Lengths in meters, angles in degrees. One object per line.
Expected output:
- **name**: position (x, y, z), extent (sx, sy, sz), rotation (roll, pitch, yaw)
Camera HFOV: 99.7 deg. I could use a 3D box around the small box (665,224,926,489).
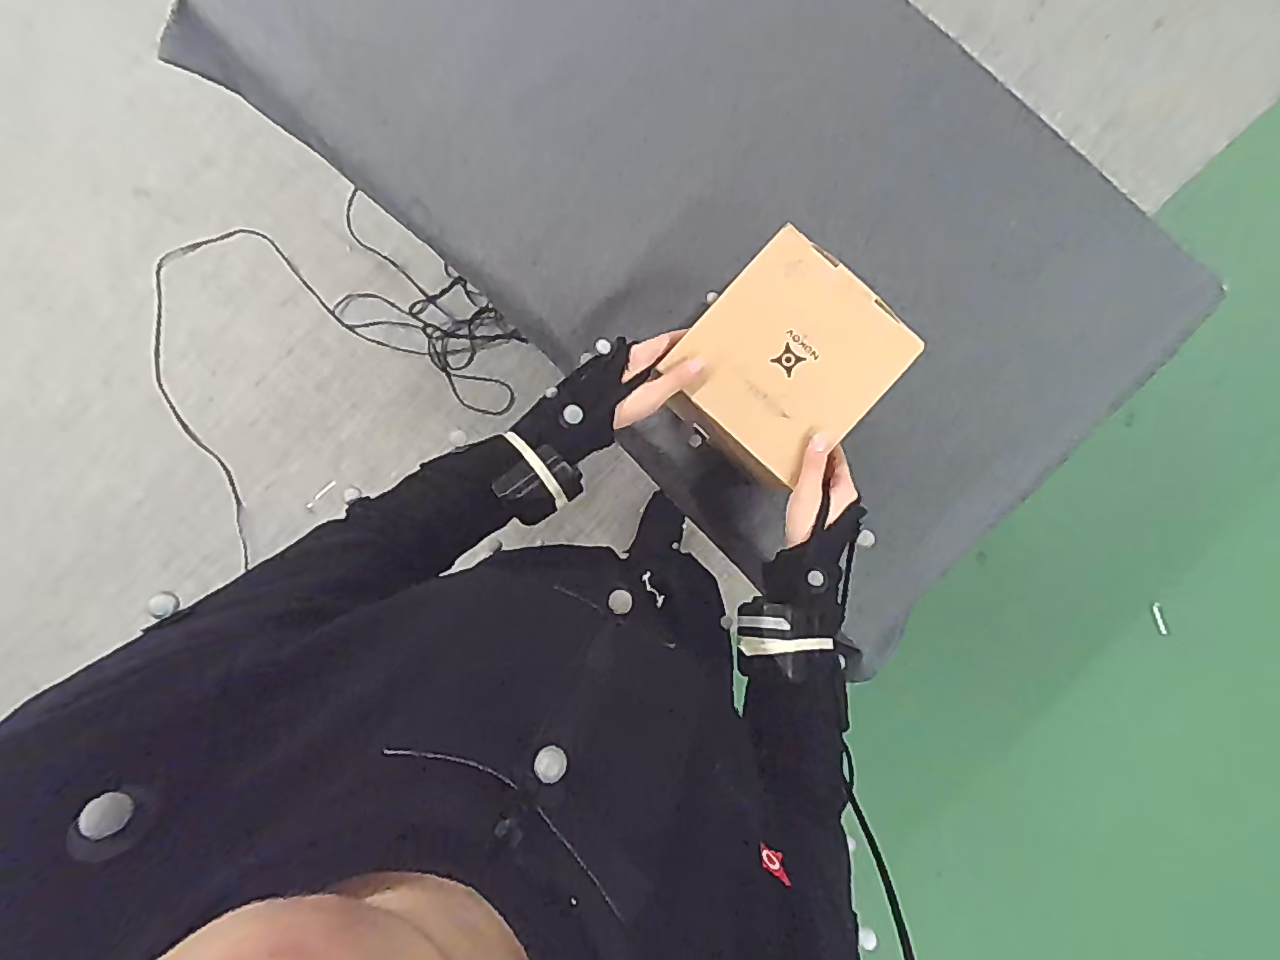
- **small box**: position (0.137, -0.110, 0.553), extent (0.168, 0.176, 0.179), rotation (41, 91, 1)
